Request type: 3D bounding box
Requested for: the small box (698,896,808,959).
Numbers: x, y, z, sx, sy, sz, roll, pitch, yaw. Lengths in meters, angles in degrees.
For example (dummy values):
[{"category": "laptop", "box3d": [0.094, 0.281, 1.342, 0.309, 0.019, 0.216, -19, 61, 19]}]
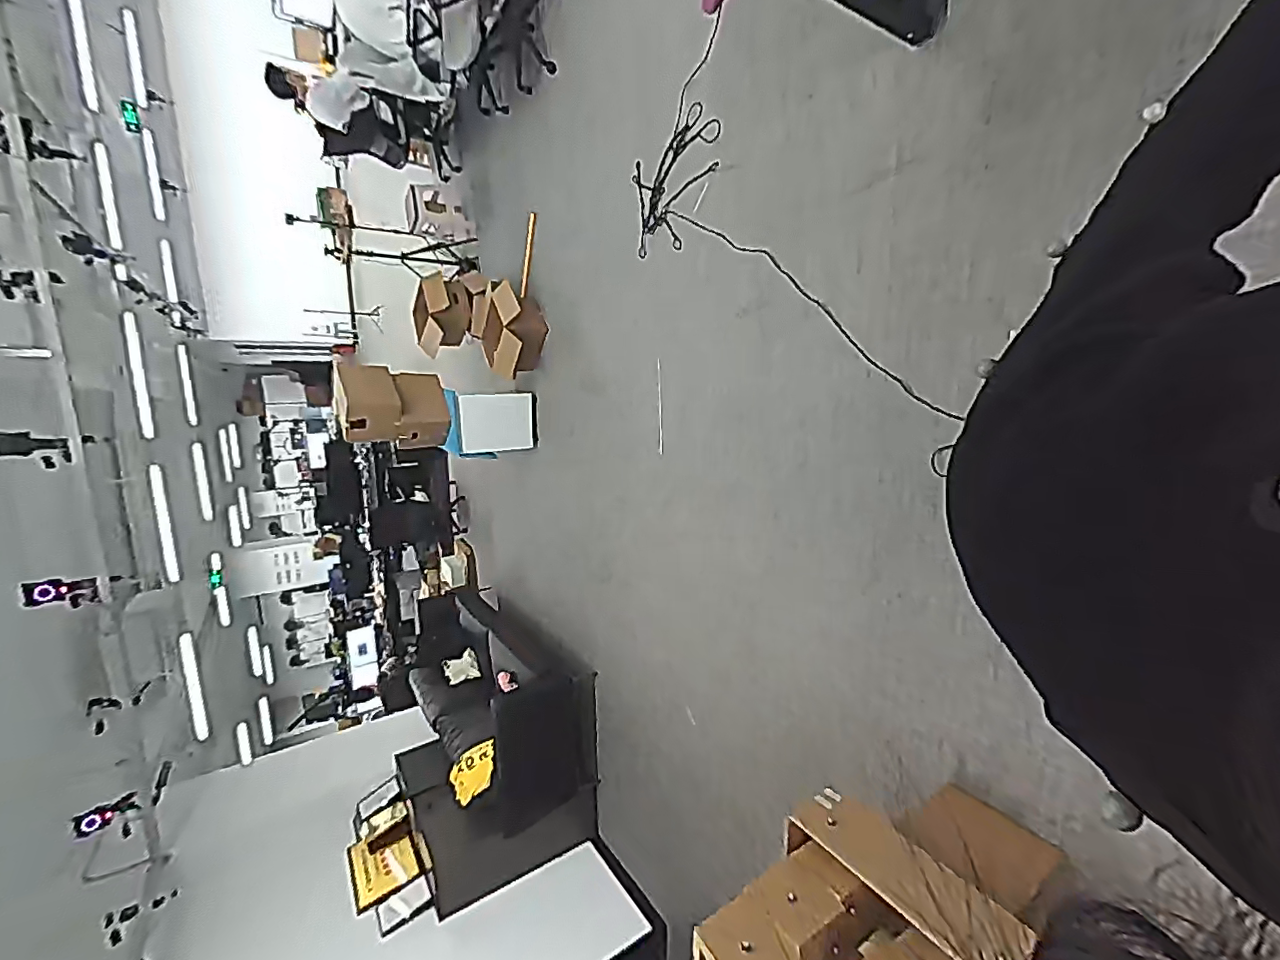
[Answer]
[{"category": "small box", "box3d": [0.250, 1.097, 1.225, 0.179, 0.176, 0.168, 21, 113, 53]}]
